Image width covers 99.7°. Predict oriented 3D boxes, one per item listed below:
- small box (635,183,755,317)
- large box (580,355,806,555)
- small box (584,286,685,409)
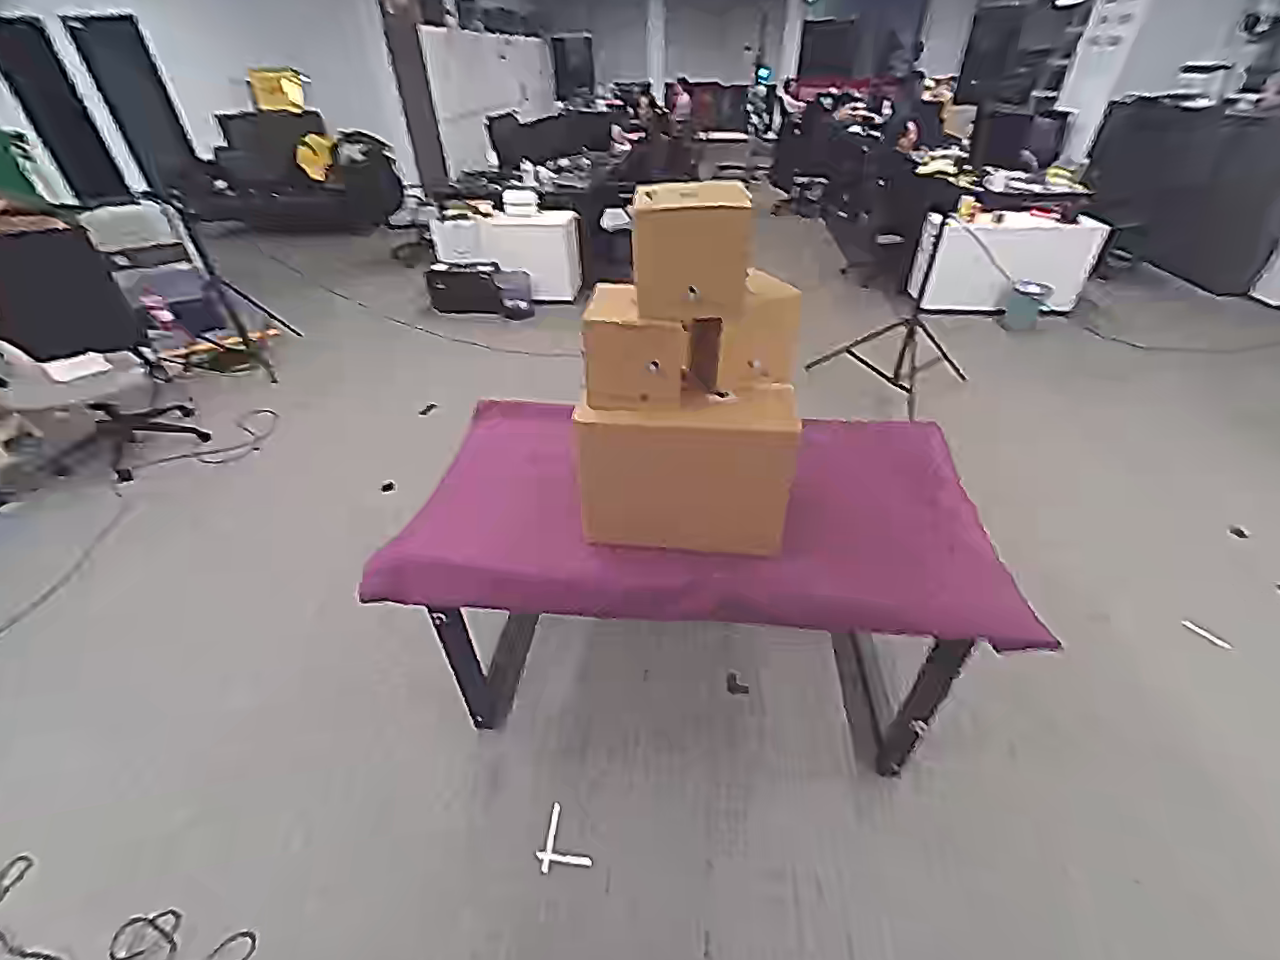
[{"bbox_3d":[0.086,-0.375,0.887,0.179,0.176,0.168,1,38,4],"label":"small box"},{"bbox_3d":[0.102,-0.060,1.146,0.408,0.320,0.320,4,39,5],"label":"large box"},{"bbox_3d":[-0.003,-0.242,0.986,0.168,0.176,0.179,4,37,4],"label":"small box"}]
